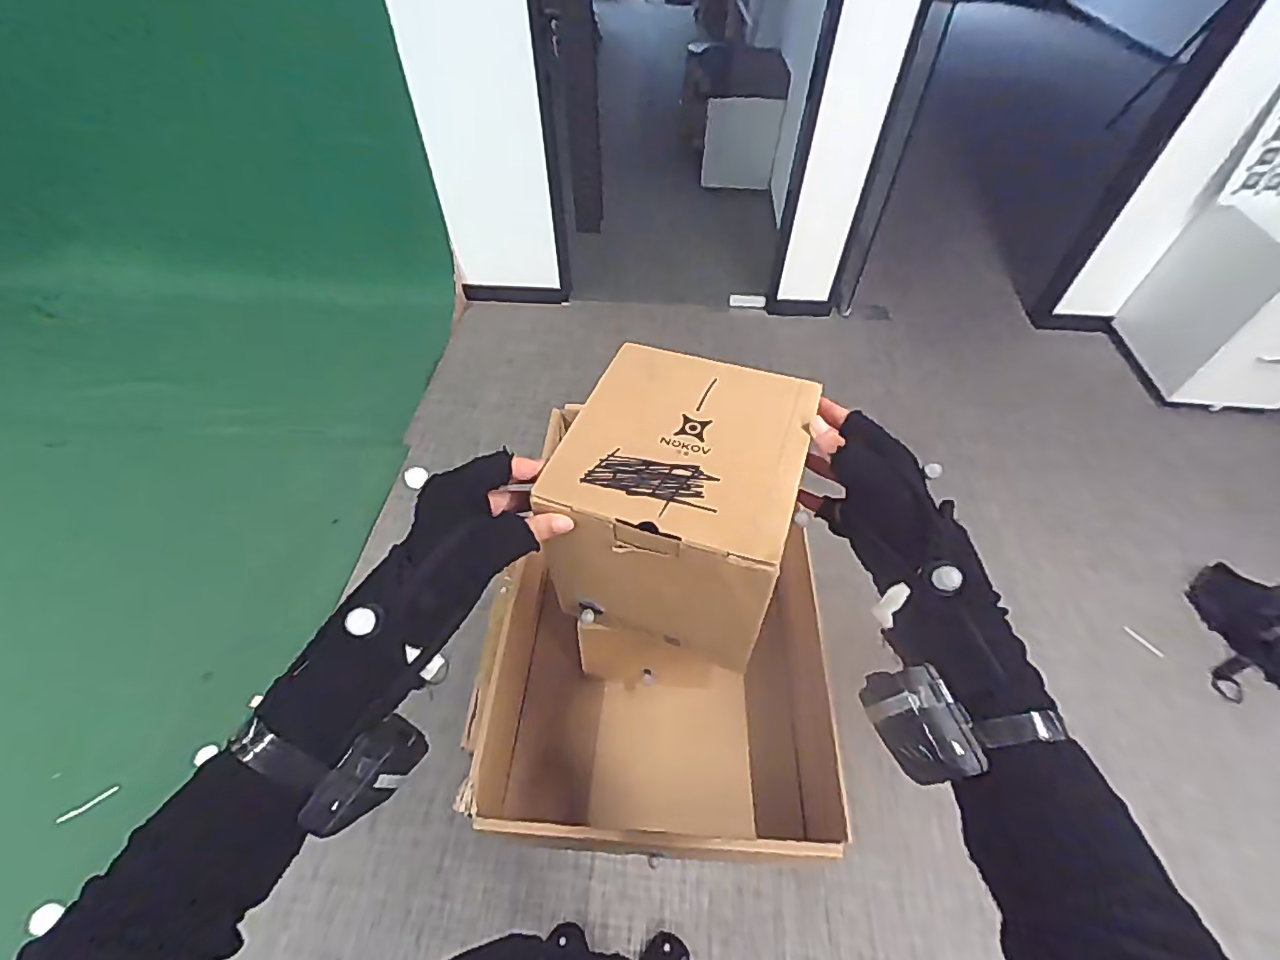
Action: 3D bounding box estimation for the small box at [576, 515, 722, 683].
[{"bbox_3d":[0.011,0.170,0.751,0.179,0.176,0.168,4,49,0],"label":"small box"}]
